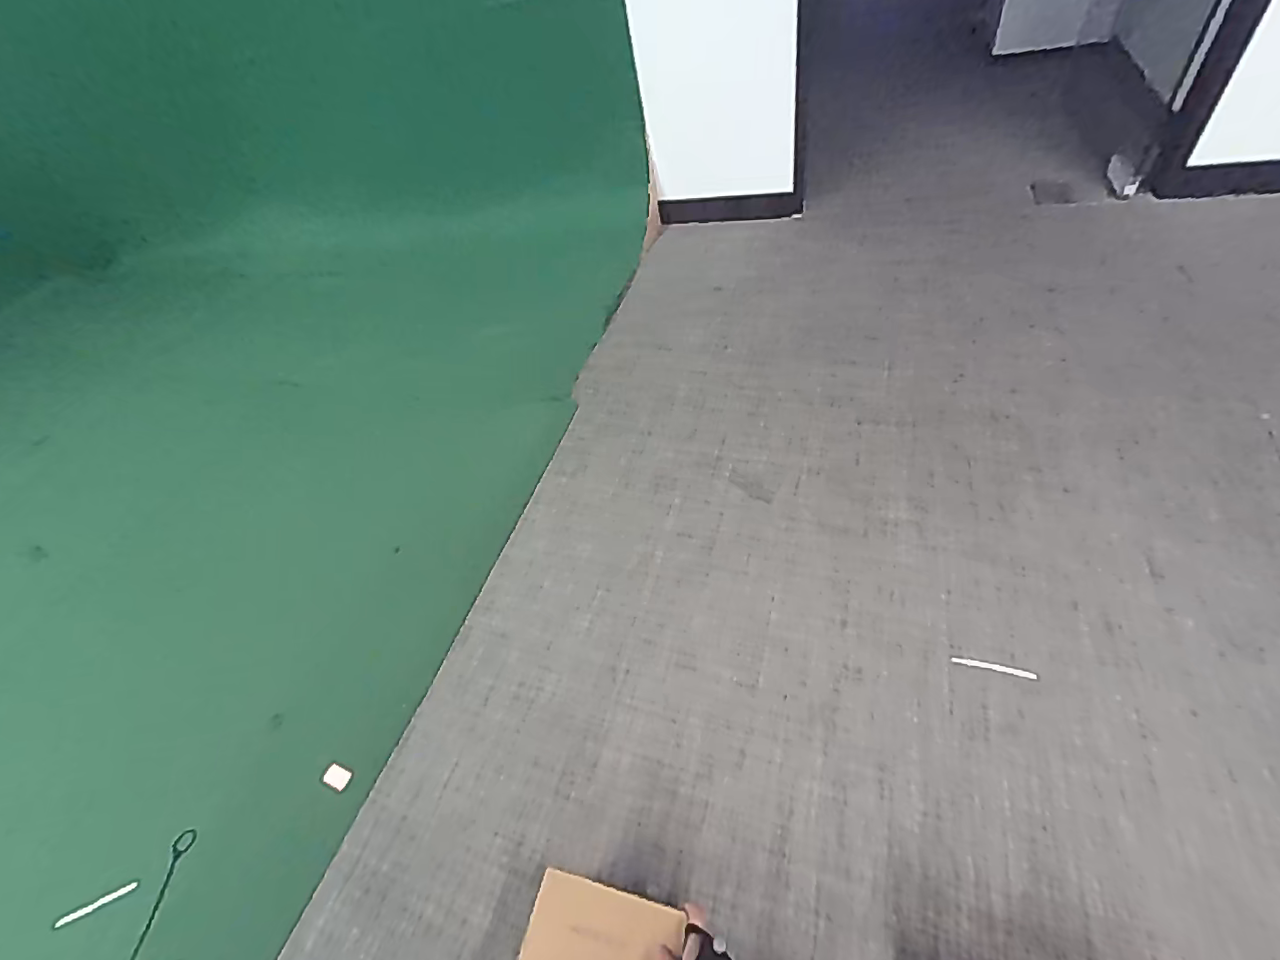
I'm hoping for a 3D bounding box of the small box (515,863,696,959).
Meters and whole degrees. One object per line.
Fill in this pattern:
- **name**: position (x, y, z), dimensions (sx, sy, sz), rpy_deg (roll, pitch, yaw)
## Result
- **small box**: position (-0.038, 0.558, 0.595), dimensions (0.168, 0.176, 0.179), rpy_deg (6, 51, 18)
